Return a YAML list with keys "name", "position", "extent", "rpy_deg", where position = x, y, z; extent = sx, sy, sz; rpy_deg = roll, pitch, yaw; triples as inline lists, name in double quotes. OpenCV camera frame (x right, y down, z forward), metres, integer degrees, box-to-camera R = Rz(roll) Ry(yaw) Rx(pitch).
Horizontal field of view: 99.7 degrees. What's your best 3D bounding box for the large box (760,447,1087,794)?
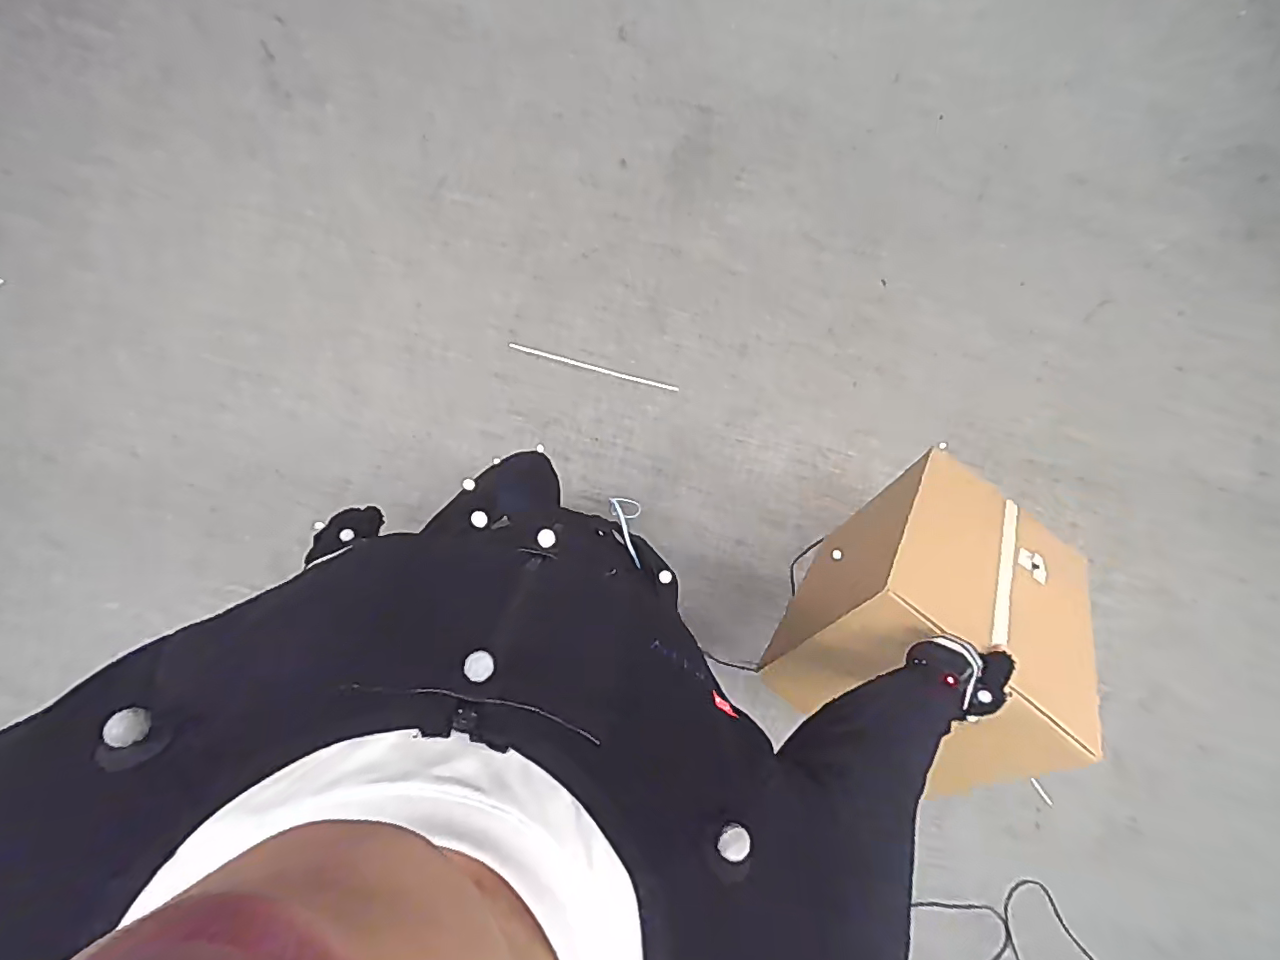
- name: "large box"
  position: [0.463, 0.223, 0.909]
  extent: [0.320, 0.320, 0.408]
  rpy_deg: [41, 45, 6]
